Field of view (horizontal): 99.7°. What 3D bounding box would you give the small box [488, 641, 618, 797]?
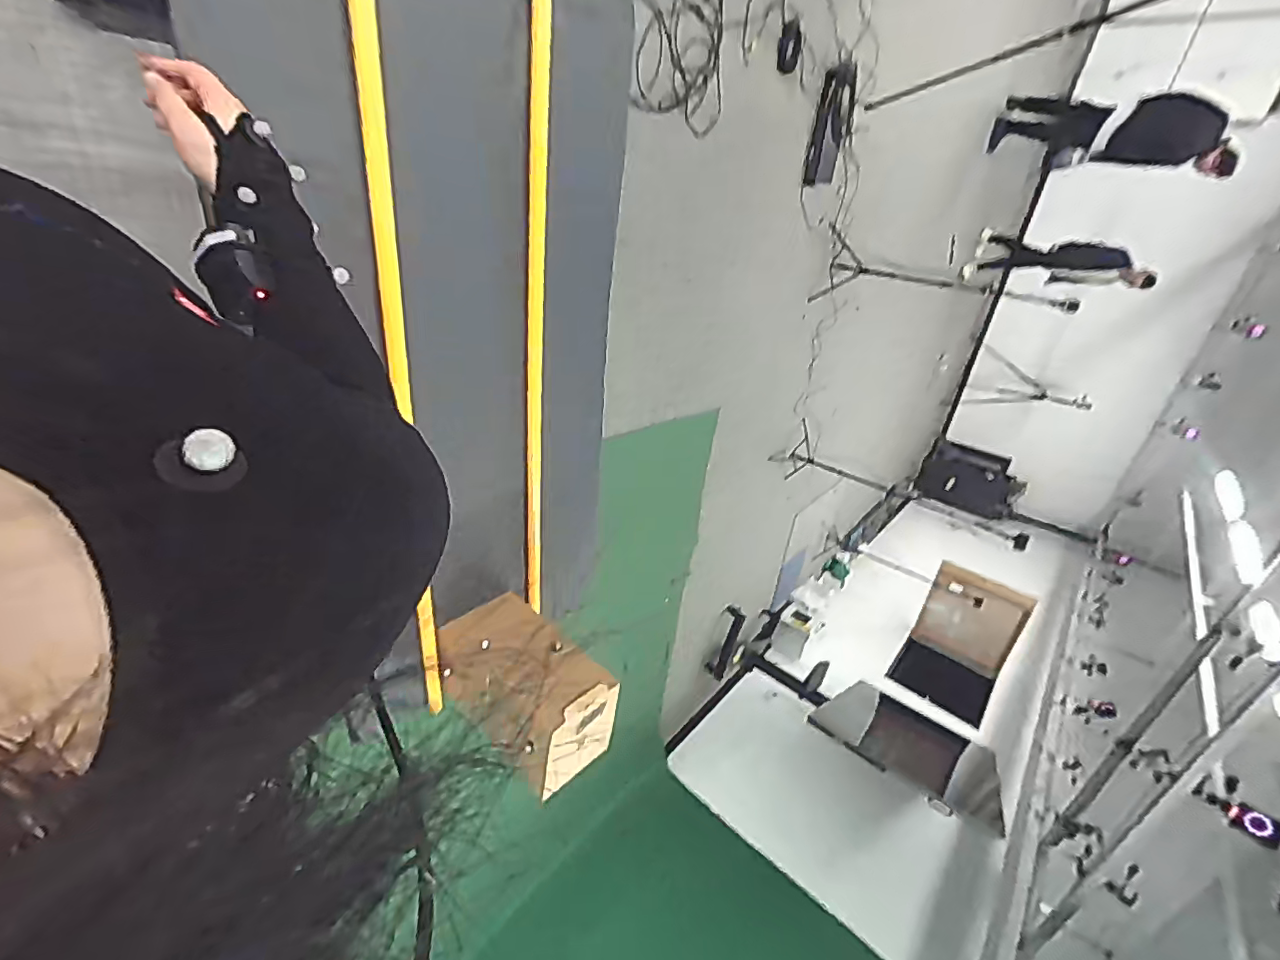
[{"bbox_3d":[-0.164,0.425,1.001,0.168,0.176,0.179,-18,126,-47],"label":"small box"}]
